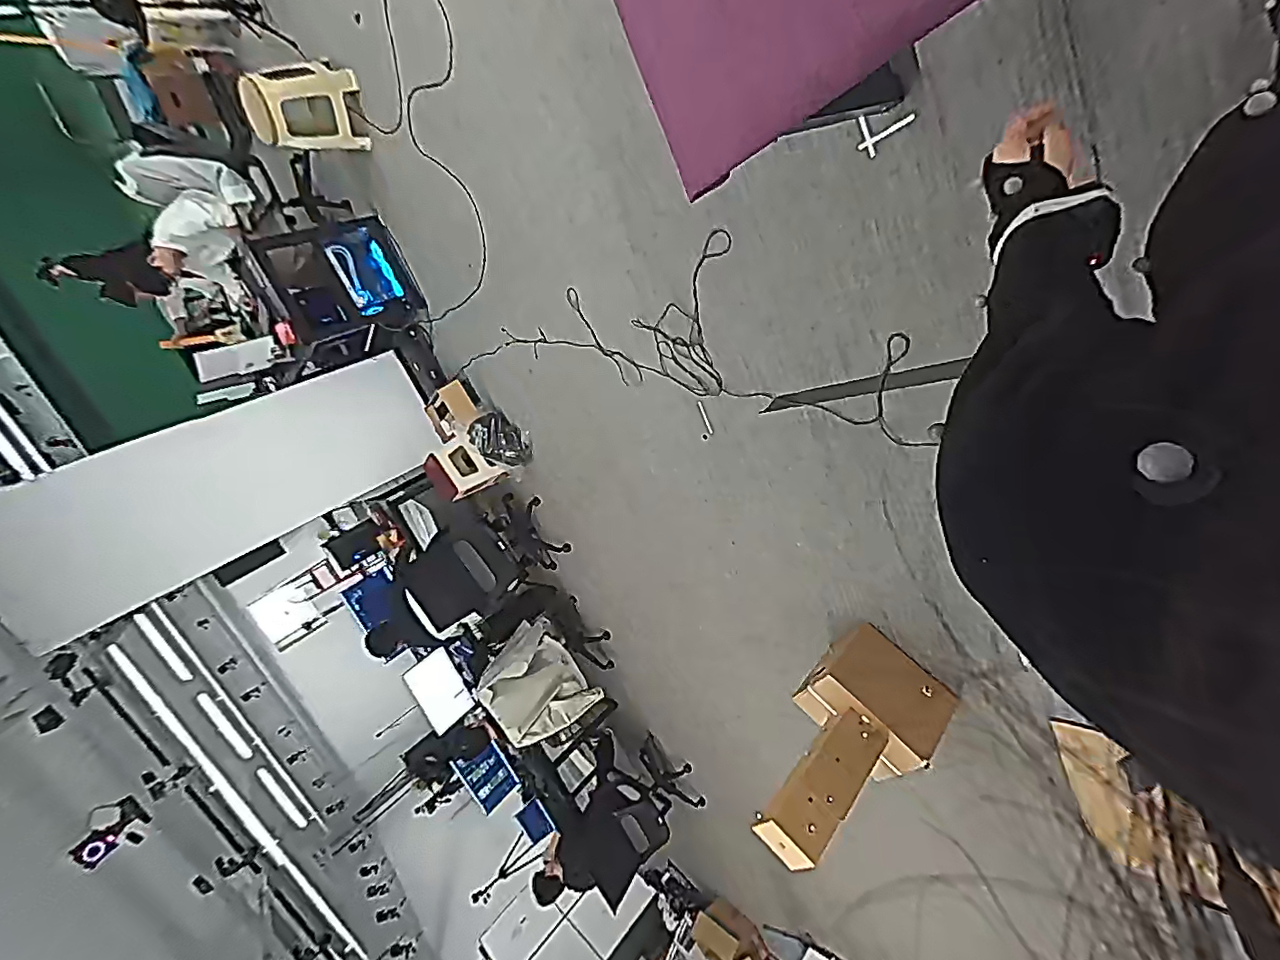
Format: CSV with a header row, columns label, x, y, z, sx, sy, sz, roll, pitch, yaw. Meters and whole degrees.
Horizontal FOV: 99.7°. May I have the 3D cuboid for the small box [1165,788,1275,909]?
label,x,y,z,sx,sy,sz,roll,pitch,yaw
small box,1.548,0.971,1.441,0.168,0.176,0.179,-21,101,53

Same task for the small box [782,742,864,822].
label,x,y,z,sx,sy,sz,roll,pitch,yaw
small box,0.612,1.010,1.802,0.168,0.176,0.179,42,145,19

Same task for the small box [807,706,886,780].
label,x,y,z,sx,sy,sz,roll,pitch,yaw
small box,0.725,0.930,1.889,0.168,0.176,0.179,42,144,19

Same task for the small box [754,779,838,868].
label,x,y,z,sx,sy,sz,roll,pitch,yaw
small box,0.498,1.083,1.711,0.168,0.176,0.179,42,144,19
